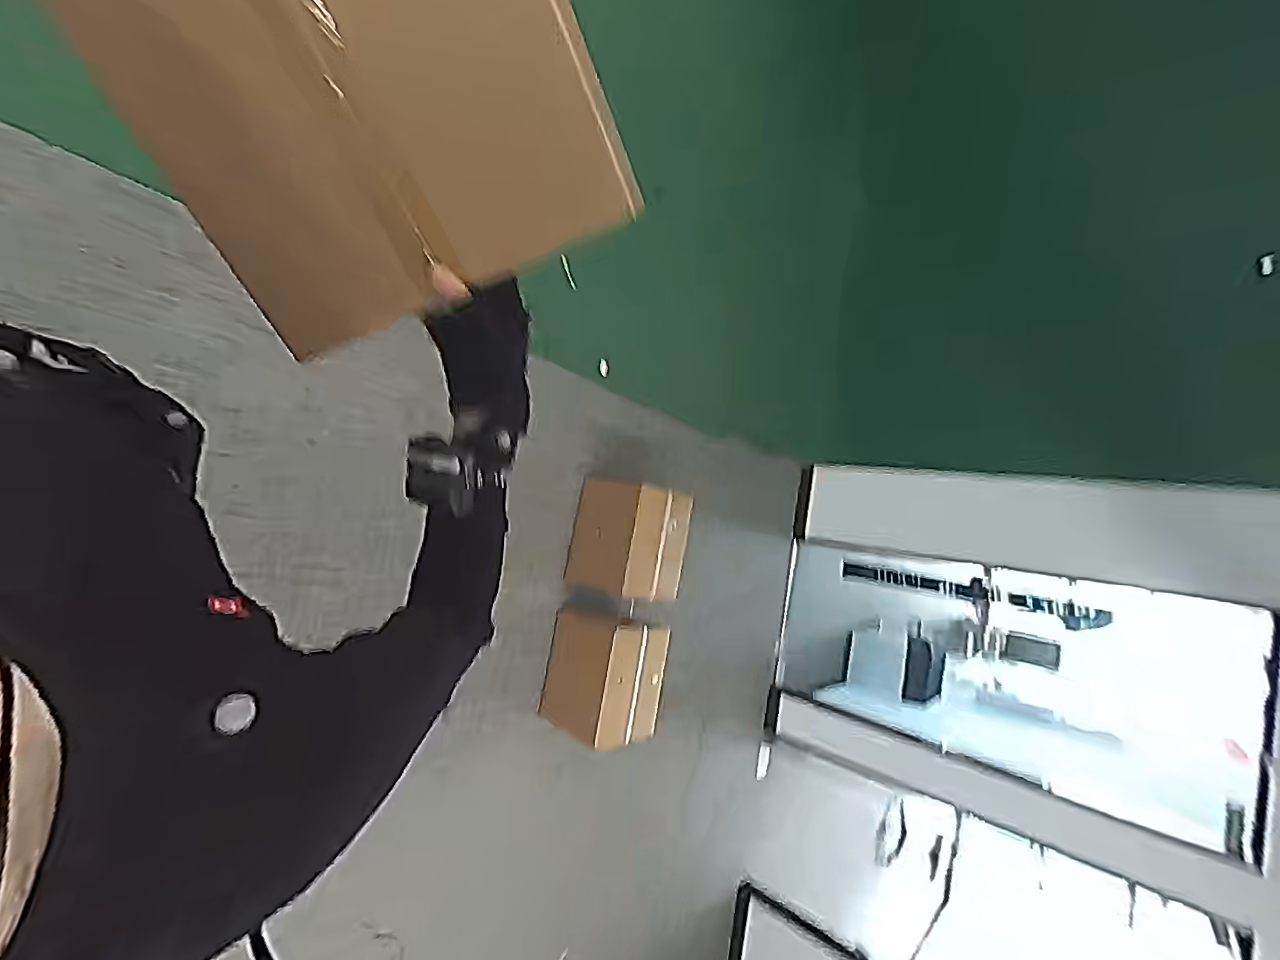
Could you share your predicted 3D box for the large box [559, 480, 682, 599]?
[{"bbox_3d":[-0.074,0.229,2.072,0.320,0.320,0.408,18,79,-49],"label":"large box"}]
